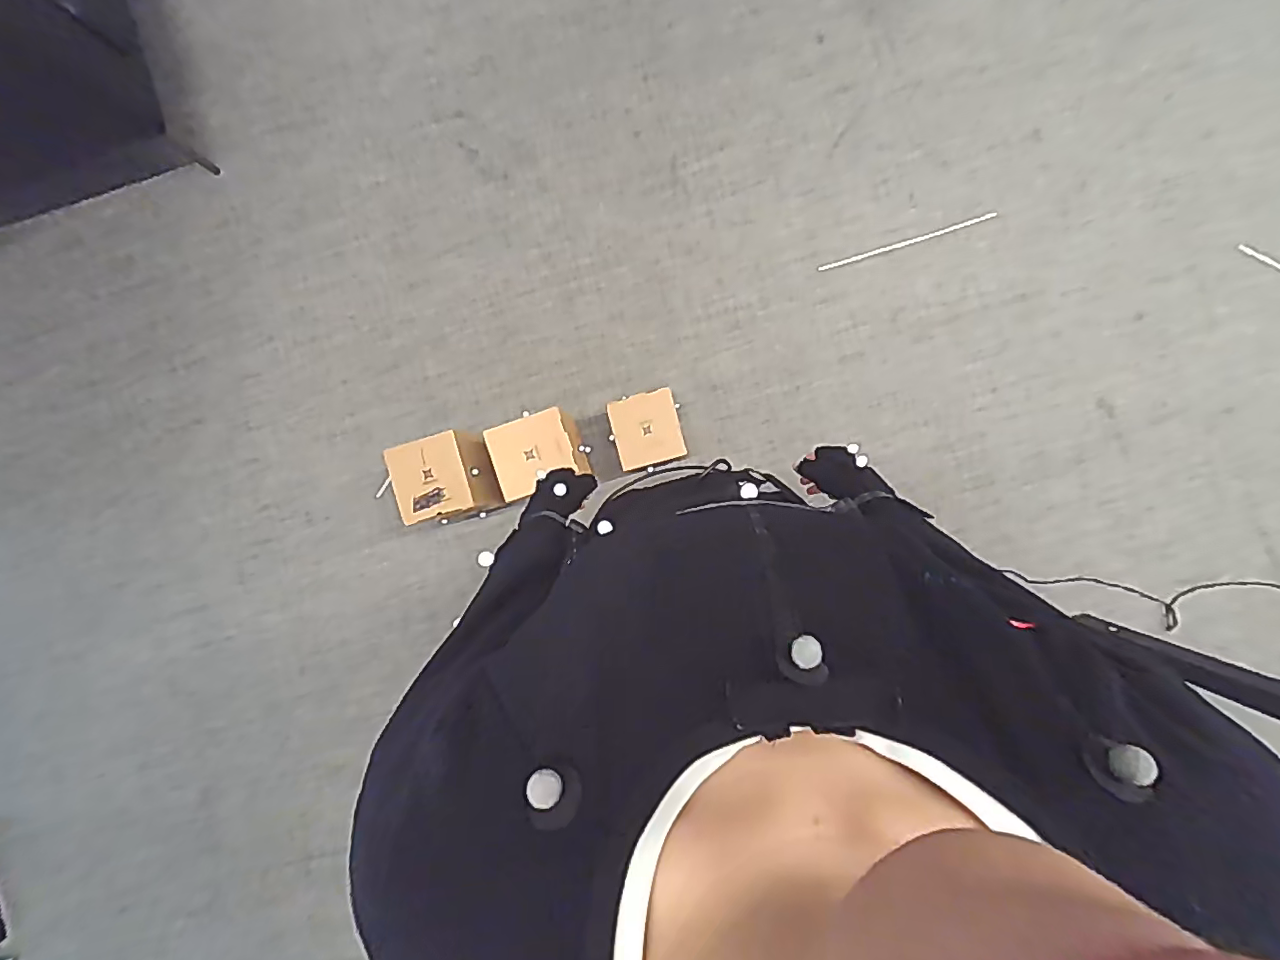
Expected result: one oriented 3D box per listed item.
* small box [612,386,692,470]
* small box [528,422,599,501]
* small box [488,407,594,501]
[{"bbox_3d":[0.031,-0.126,1.396,0.168,0.176,0.179,-15,90,3],"label":"small box"},{"bbox_3d":[-0.215,-0.052,1.407,0.168,0.176,0.179,-18,89,4],"label":"small box"},{"bbox_3d":[-0.220,-0.056,1.245,0.179,0.176,0.168,-19,90,2],"label":"small box"}]
